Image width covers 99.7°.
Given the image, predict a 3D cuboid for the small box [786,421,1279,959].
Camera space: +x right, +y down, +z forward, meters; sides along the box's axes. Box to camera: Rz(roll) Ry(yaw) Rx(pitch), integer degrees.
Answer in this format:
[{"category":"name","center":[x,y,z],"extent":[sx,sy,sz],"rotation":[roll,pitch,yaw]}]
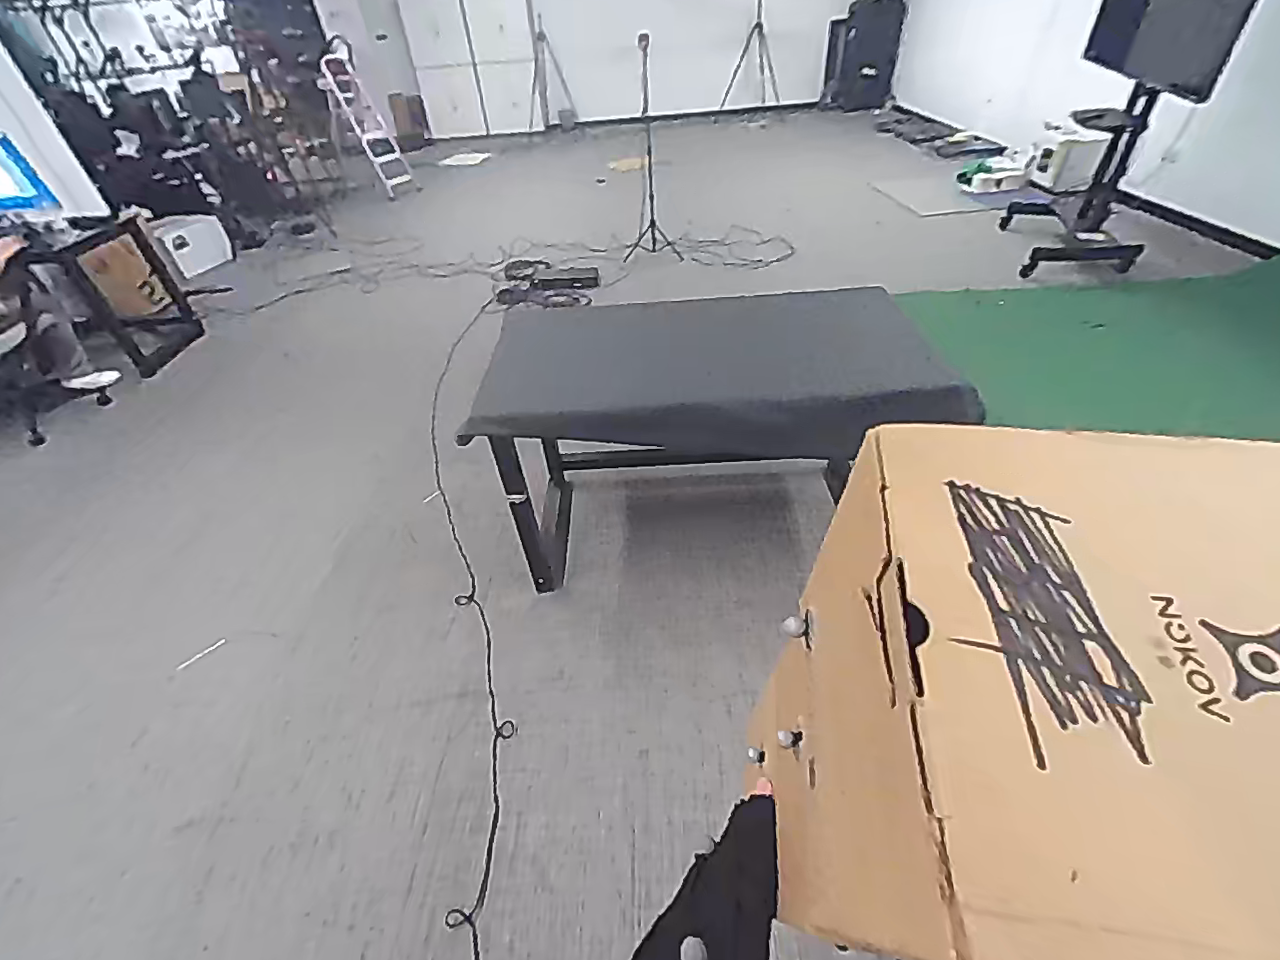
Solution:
[{"category":"small box","center":[0.158,0.095,0.223],"extent":[0.179,0.176,0.168],"rotation":[5,55,8]}]

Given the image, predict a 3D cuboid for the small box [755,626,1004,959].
[{"category":"small box","center":[0.170,0.192,0.355],"extent":[0.168,0.176,0.179],"rotation":[6,56,10]}]
